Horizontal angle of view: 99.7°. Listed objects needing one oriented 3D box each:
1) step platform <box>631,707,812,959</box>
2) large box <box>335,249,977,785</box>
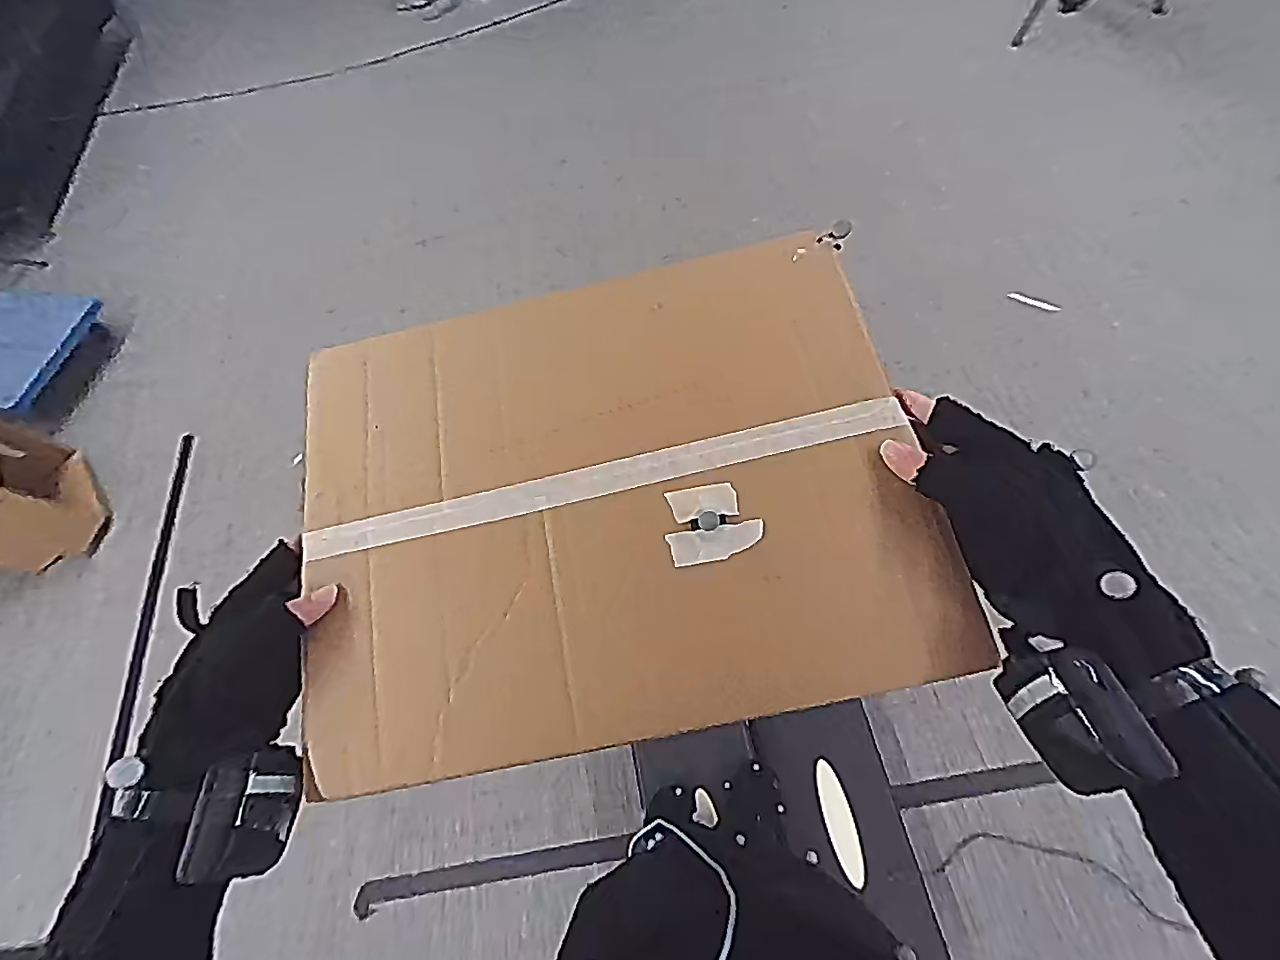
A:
[{"bbox_3d":[0.167,0.806,1.242,0.286,0.204,0.684,-14,62,3],"label":"step platform"},{"bbox_3d":[-0.005,0.053,0.514,0.408,0.320,0.320,-12,71,3],"label":"large box"}]
